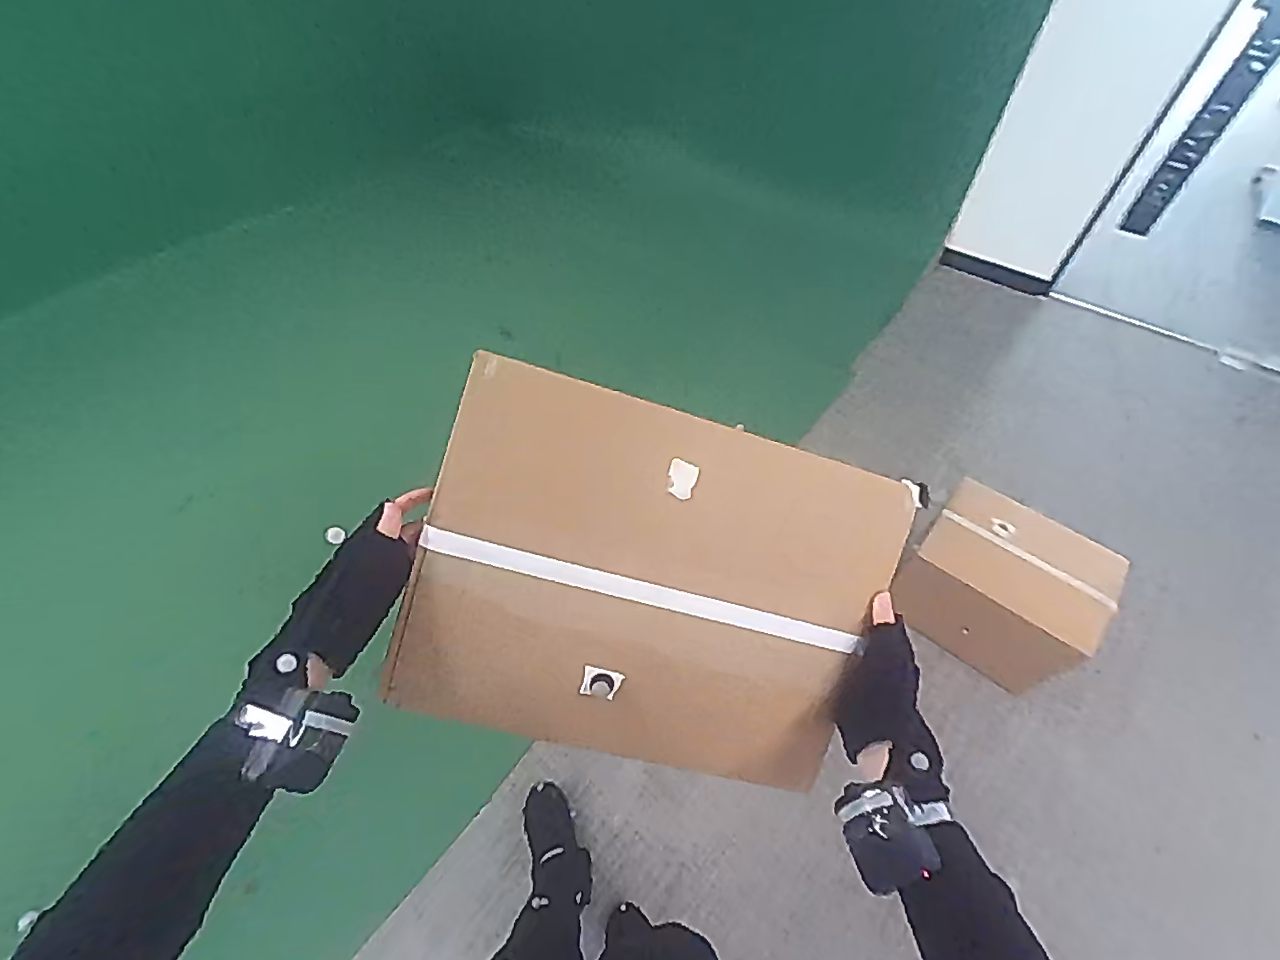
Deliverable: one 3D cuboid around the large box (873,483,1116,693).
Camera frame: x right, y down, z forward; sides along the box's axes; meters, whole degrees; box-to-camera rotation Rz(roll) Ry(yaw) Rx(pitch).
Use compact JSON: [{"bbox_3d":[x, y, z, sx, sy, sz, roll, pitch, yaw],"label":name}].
[{"bbox_3d":[0.917,0.286,1.445,0.408,0.320,0.320,34,61,25],"label":"large box"}]
